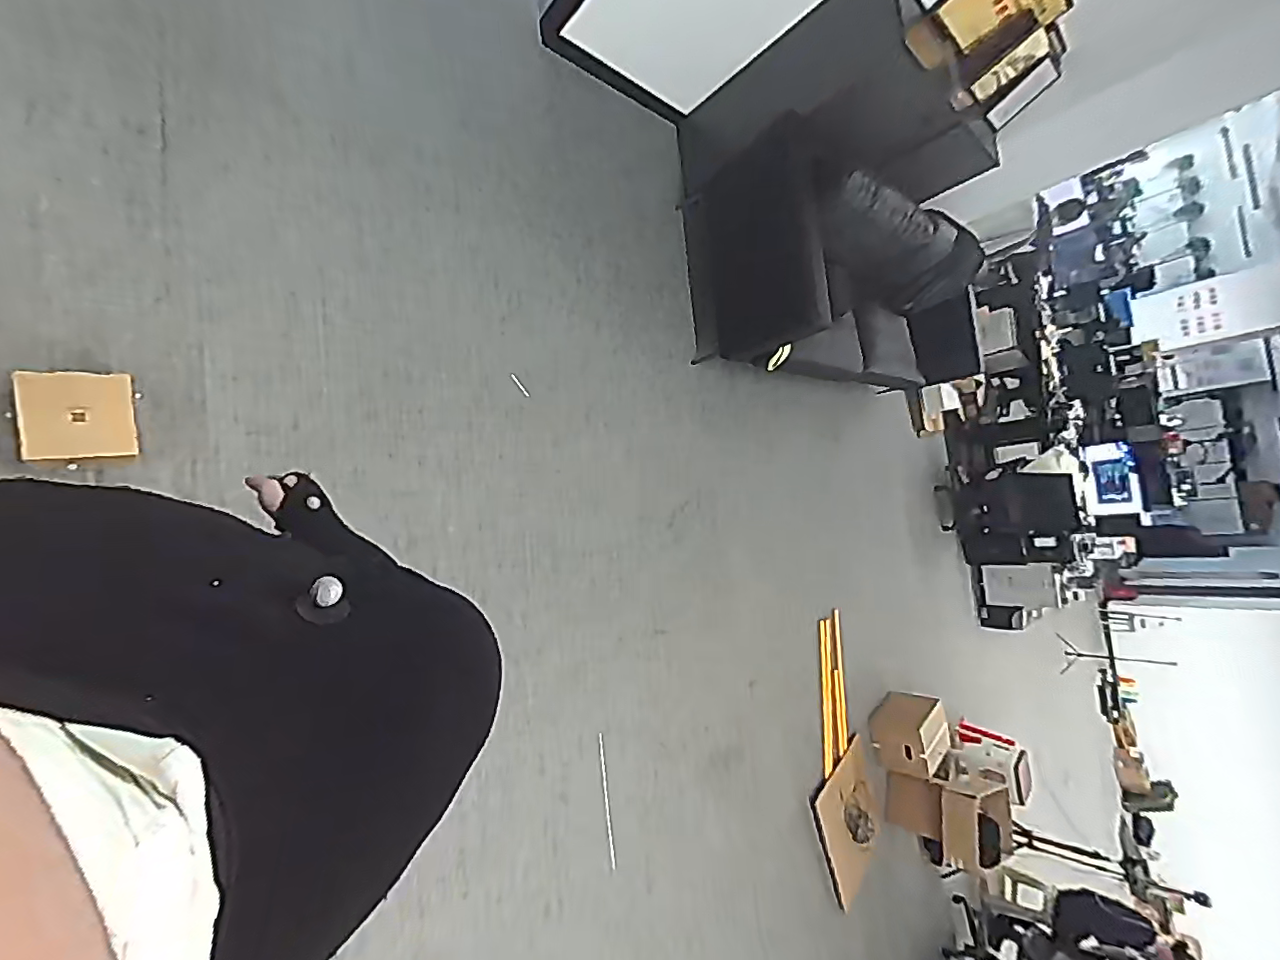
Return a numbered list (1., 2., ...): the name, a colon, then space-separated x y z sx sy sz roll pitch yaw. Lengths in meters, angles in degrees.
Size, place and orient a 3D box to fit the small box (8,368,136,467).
1. small box: -1.175 -0.123 1.129 0.168 0.176 0.179 -7 88 -43
